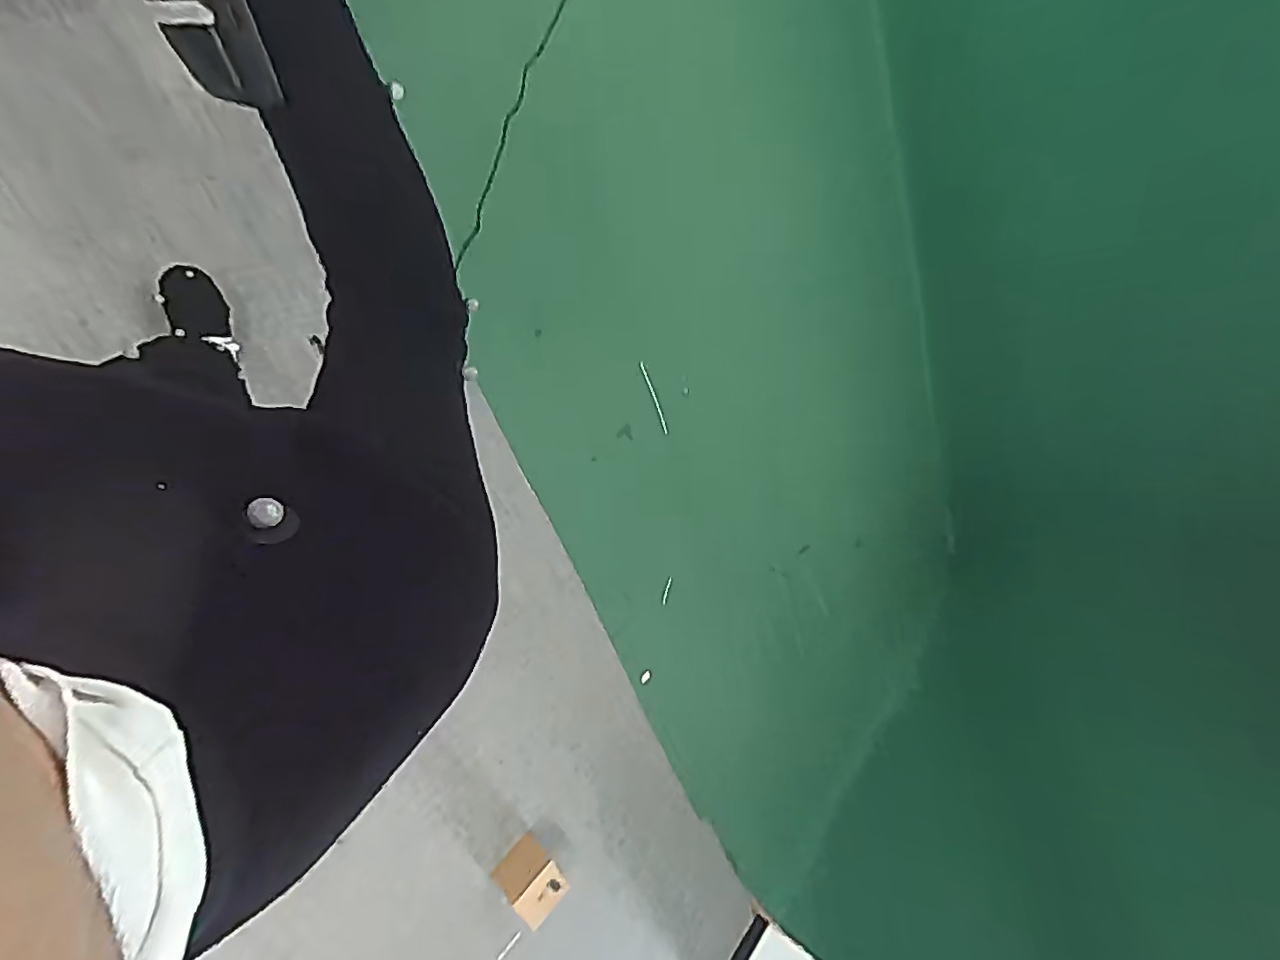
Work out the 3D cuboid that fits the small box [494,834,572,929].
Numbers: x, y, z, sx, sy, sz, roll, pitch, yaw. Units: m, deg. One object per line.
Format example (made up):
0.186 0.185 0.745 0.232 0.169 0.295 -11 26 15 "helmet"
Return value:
-0.379 1.401 1.900 0.179 0.176 0.168 -38 117 -30 "small box"
